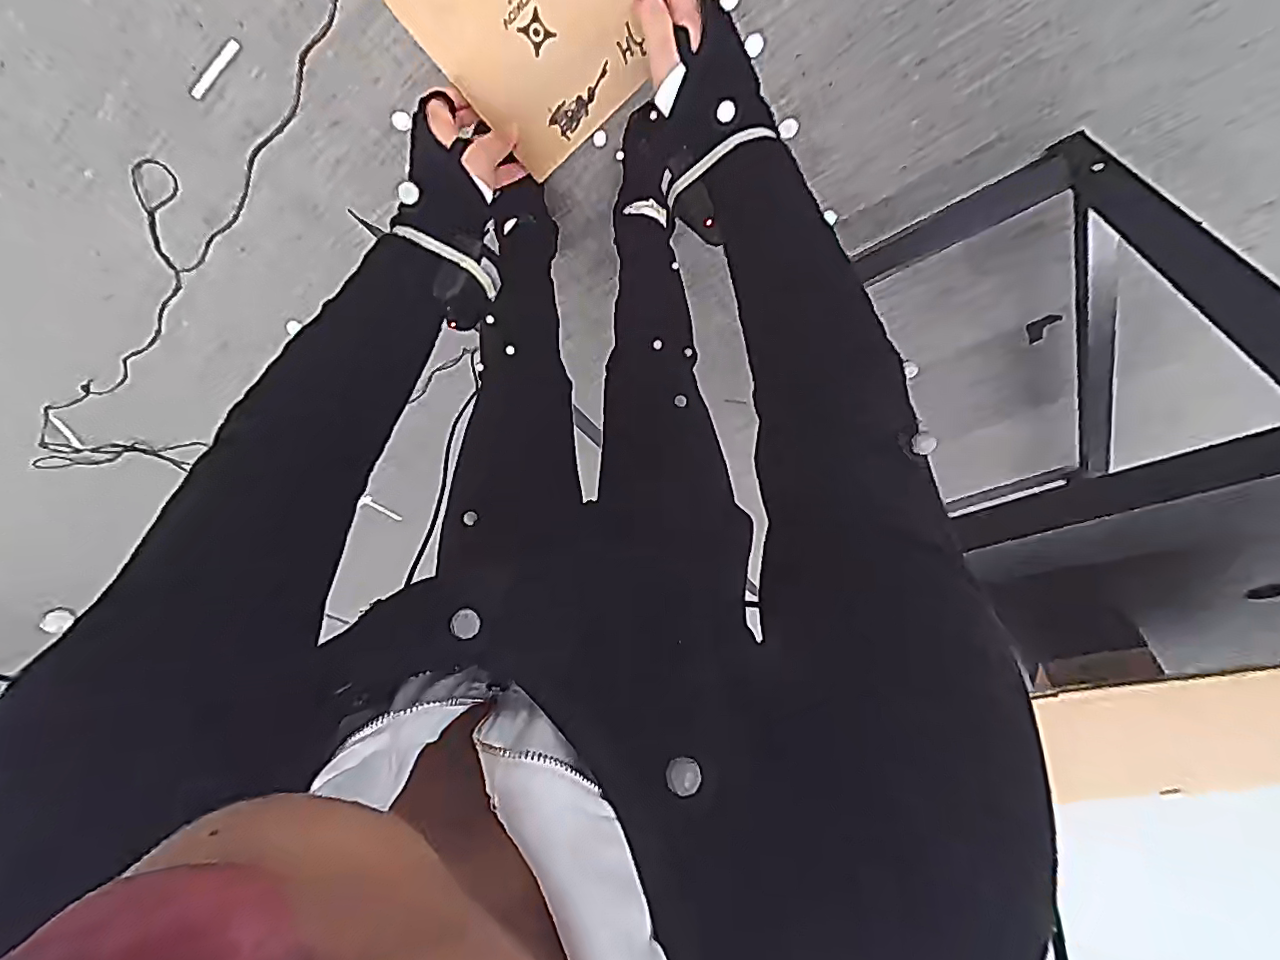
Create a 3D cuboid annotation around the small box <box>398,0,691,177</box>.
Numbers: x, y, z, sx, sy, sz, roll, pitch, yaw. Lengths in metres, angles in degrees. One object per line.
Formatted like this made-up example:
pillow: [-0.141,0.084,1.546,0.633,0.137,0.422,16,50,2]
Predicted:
small box: [-0.071,-0.418,0.475,0.168,0.176,0.179,-25,128,32]
